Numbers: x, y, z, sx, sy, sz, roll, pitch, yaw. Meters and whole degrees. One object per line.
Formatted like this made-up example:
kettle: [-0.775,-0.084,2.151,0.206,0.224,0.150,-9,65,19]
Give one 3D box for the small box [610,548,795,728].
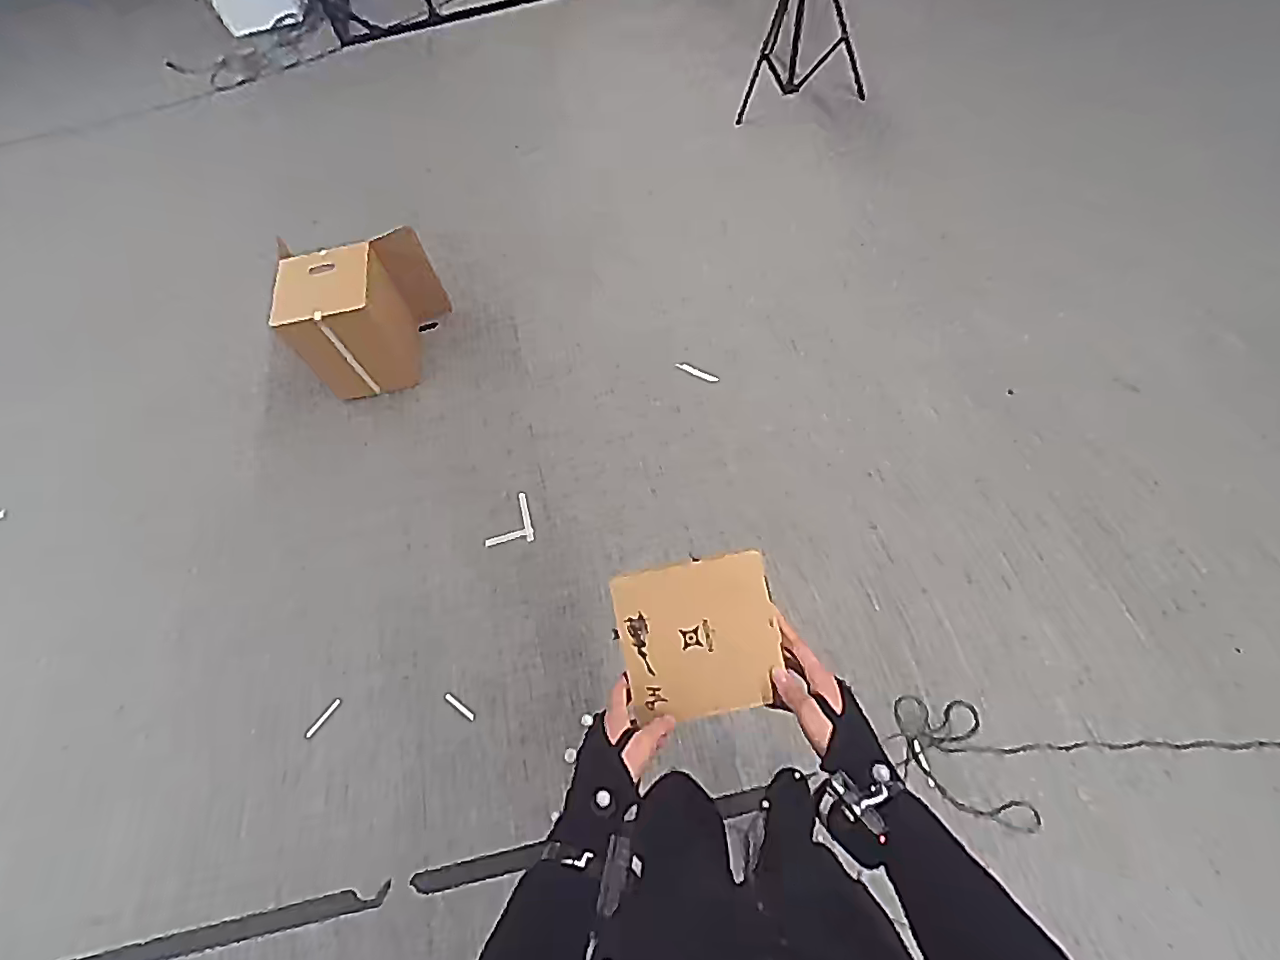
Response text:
small box: [0.071,0.180,0.668,0.179,0.176,0.168,-13,83,3]
